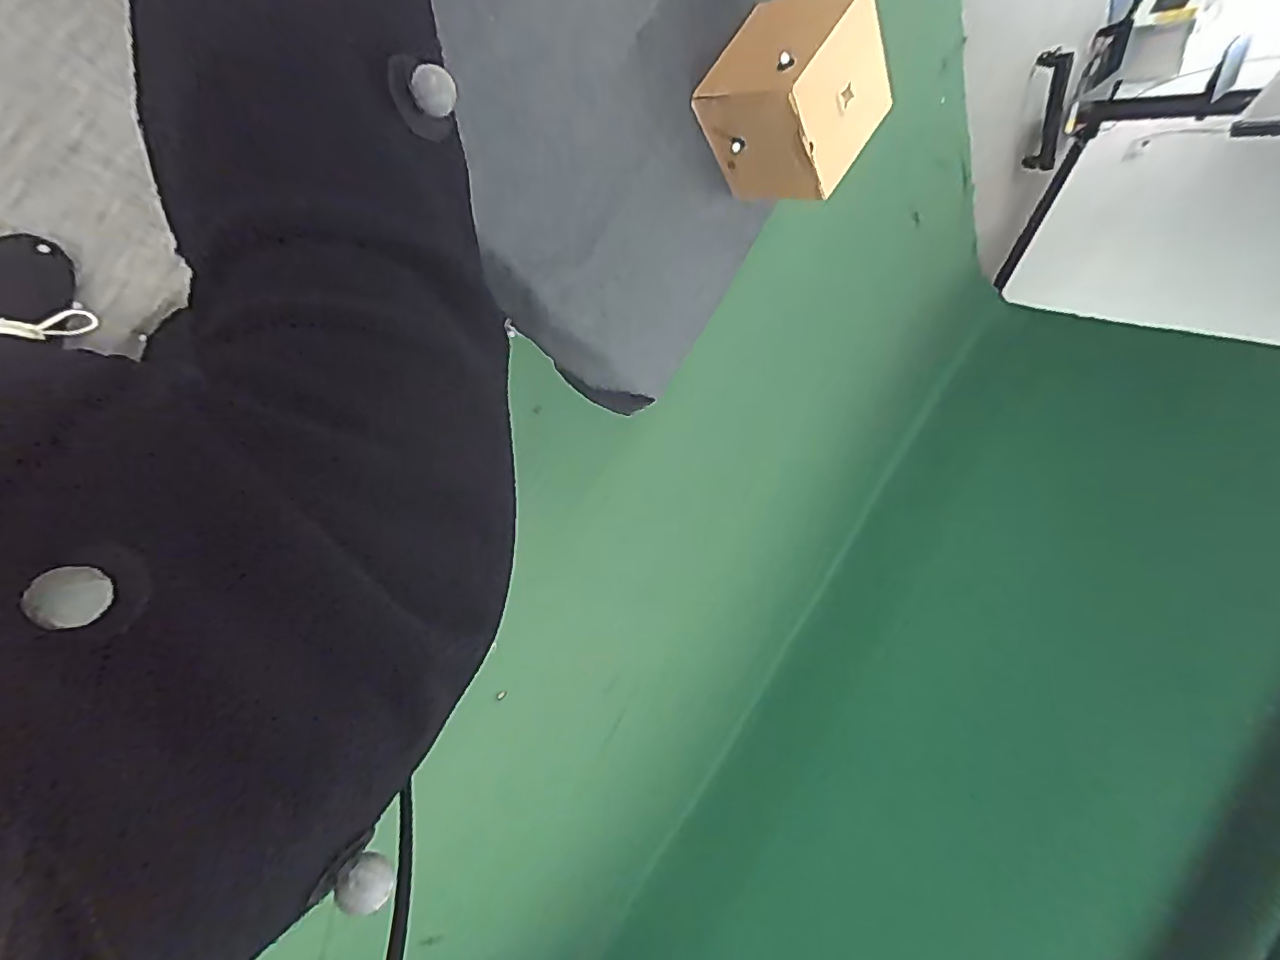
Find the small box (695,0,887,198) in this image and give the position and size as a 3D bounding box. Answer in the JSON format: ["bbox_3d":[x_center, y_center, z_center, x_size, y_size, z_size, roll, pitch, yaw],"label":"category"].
[{"bbox_3d":[0.207,-0.526,0.743,0.179,0.176,0.168,-55,140,-3],"label":"small box"}]
